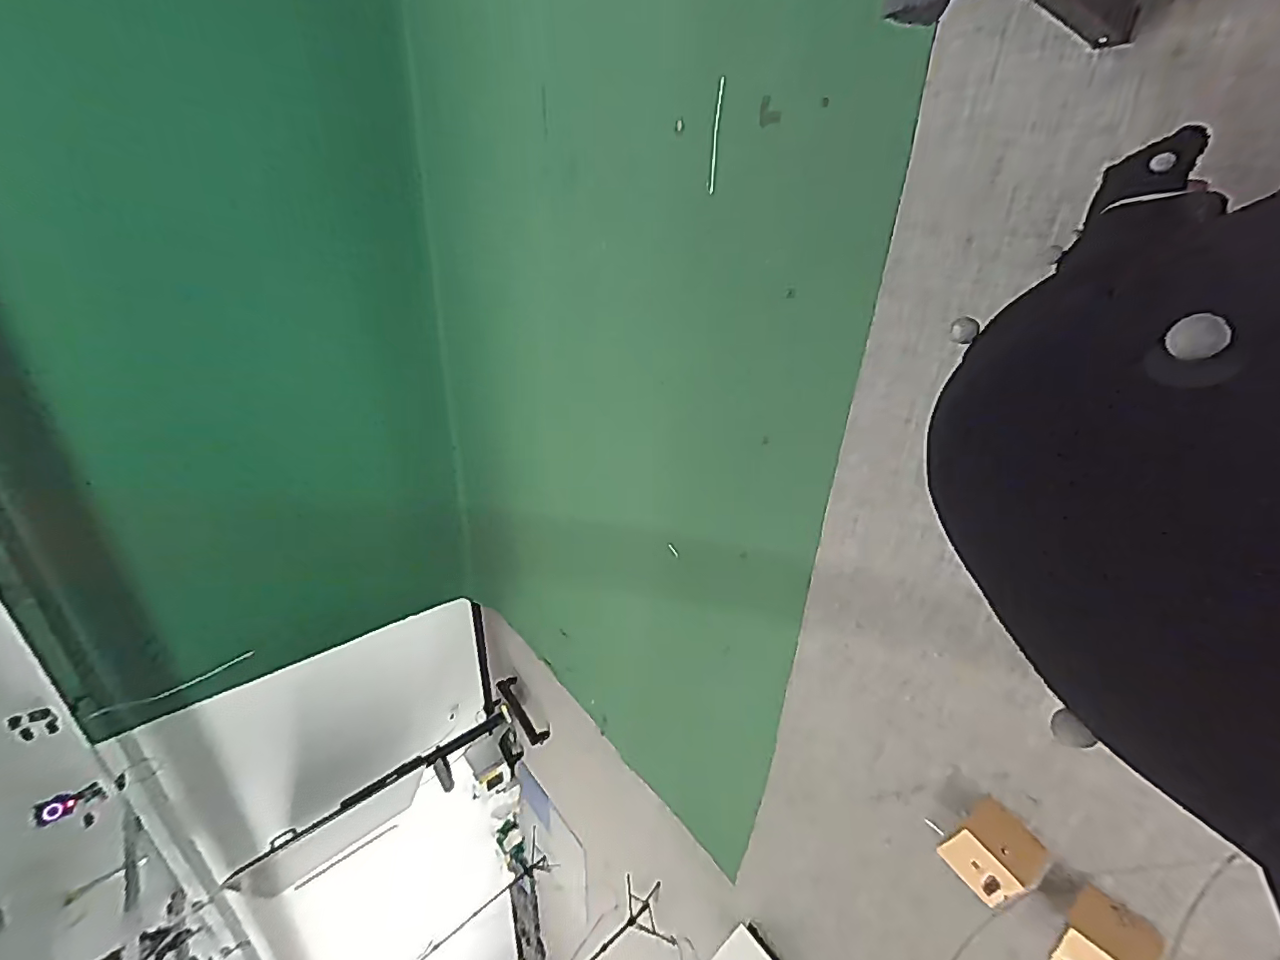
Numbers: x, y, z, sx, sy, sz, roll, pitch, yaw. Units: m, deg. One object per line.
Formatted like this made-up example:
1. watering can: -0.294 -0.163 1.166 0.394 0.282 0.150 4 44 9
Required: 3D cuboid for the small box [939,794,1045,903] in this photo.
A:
1. small box: 1.022 1.061 1.567 0.179 0.176 0.168 44 135 33
